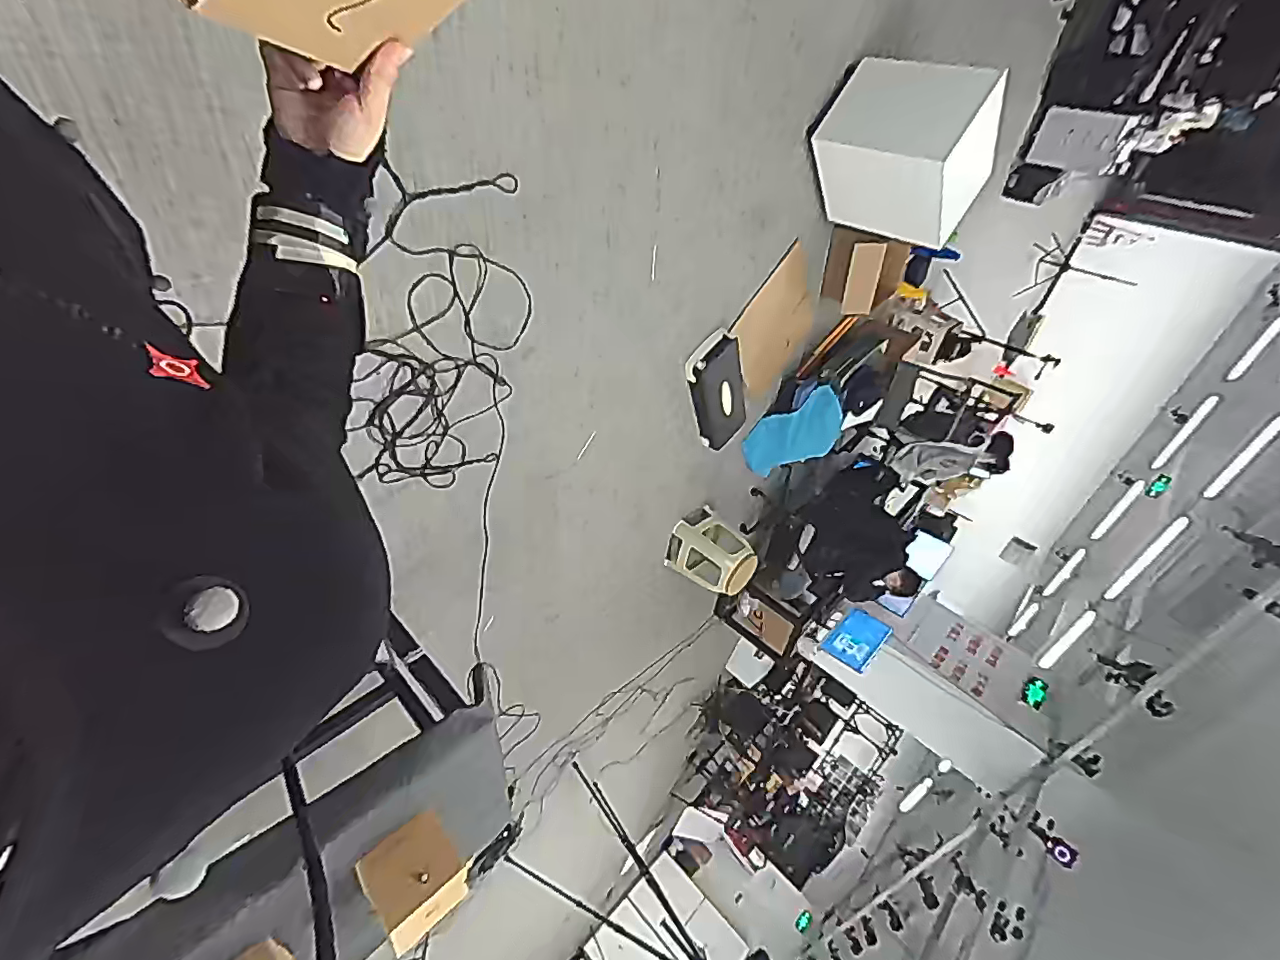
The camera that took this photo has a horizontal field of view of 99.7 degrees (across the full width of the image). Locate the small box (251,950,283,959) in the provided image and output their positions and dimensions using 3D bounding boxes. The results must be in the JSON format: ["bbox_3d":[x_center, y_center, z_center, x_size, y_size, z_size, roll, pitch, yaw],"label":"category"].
[{"bbox_3d":[-0.723,1.035,1.005,0.168,0.176,0.179,-32,141,-39],"label":"small box"}]

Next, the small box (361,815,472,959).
[{"bbox_3d":[-0.501,0.910,1.211,0.179,0.176,0.168,-27,138,-42],"label":"small box"}]
